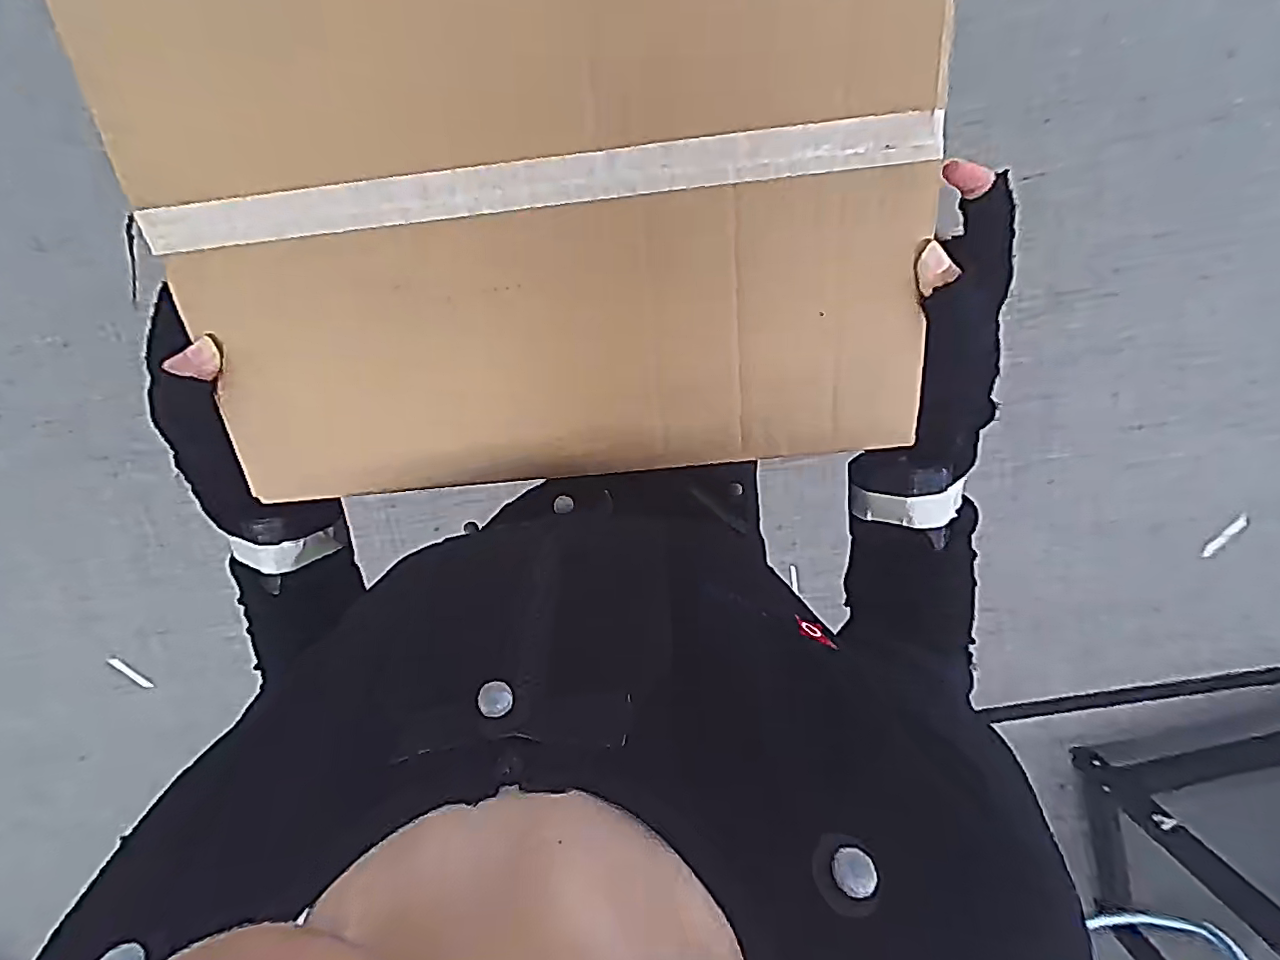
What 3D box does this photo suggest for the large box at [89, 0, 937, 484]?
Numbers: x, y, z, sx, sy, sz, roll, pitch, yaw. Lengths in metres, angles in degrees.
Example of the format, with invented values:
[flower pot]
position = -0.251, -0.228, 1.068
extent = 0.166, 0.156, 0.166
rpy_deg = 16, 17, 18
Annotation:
[large box]
position = -0.054, -0.213, 0.419
extent = 0.408, 0.320, 0.320
rpy_deg = -5, 113, 3
